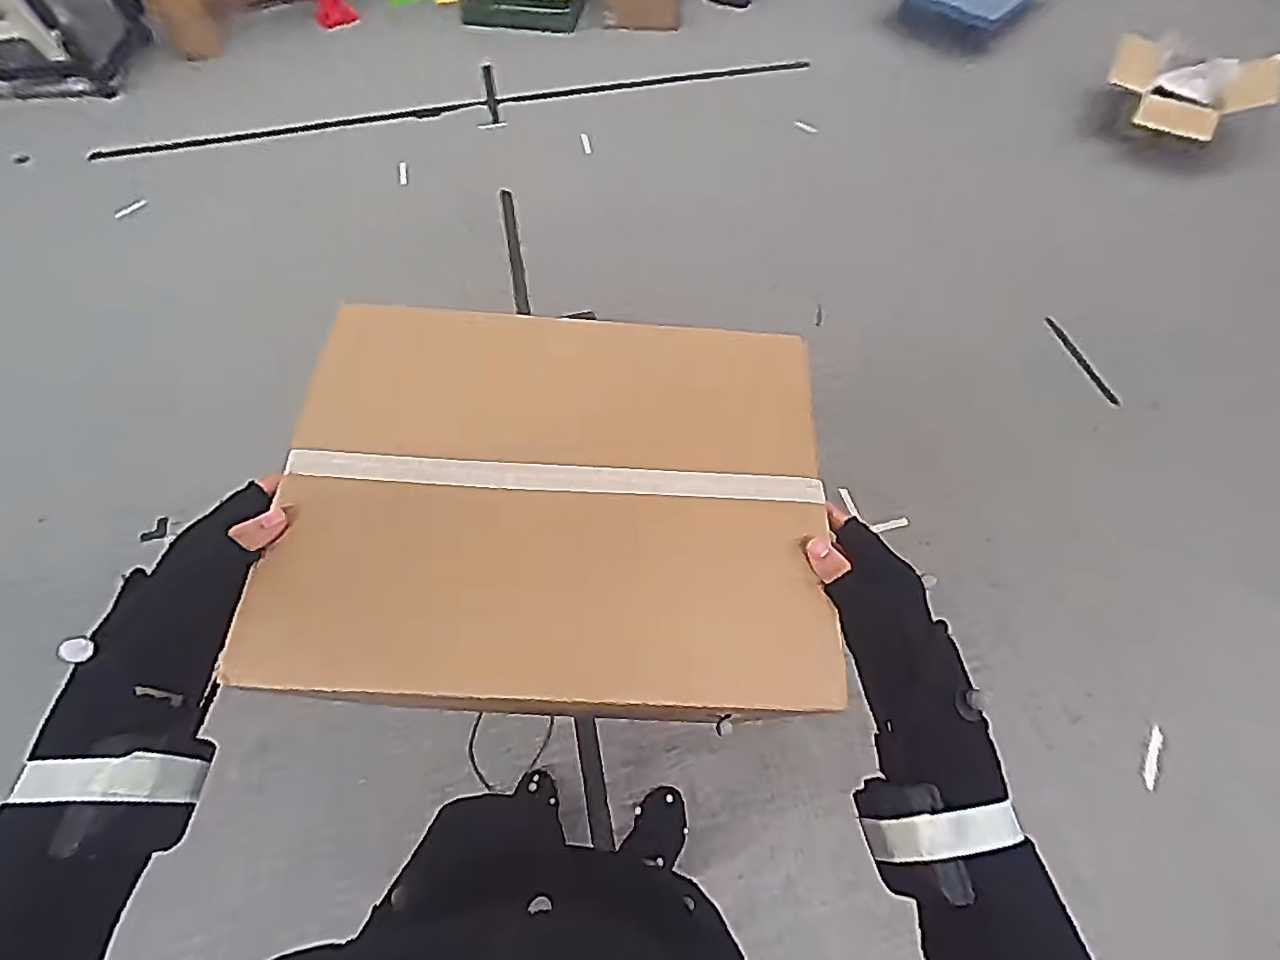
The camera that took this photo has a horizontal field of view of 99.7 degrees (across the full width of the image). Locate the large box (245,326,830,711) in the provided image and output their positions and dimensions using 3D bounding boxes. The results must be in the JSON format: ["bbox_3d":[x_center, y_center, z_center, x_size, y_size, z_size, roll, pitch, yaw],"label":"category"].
[{"bbox_3d":[-0.070,0.070,0.561,0.408,0.320,0.320,3,65,-3],"label":"large box"}]
